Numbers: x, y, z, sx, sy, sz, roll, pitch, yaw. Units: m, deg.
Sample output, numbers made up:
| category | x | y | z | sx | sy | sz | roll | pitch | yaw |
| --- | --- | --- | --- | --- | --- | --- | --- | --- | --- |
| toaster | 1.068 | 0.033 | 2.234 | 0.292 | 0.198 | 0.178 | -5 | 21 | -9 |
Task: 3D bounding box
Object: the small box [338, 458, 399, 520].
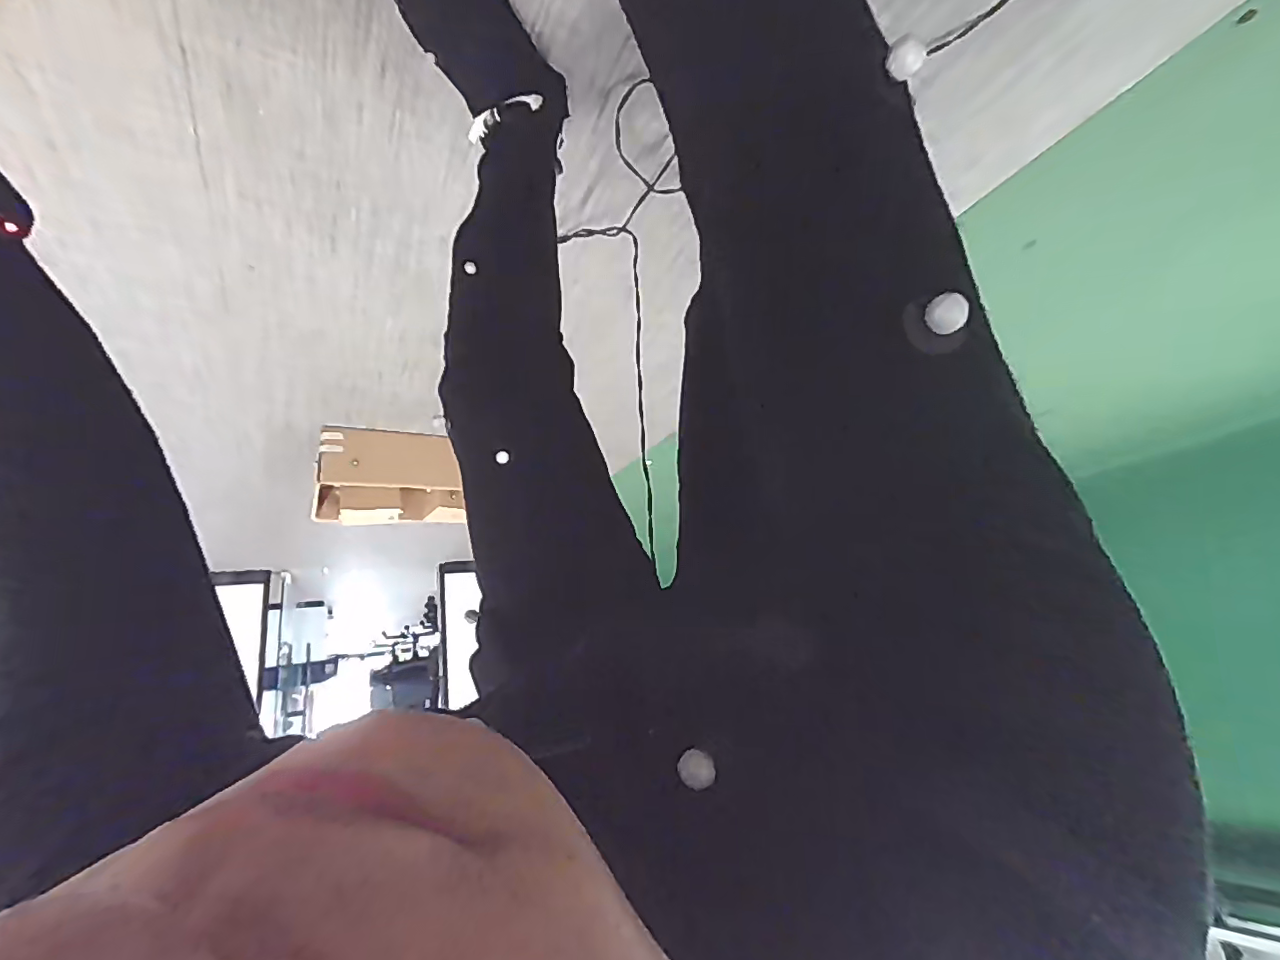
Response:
| category | x | y | z | sx | sy | sz | roll | pitch | yaw |
| --- | --- | --- | --- | --- | --- | --- | --- | --- | --- |
| small box | -0.915 | 0.031 | 1.823 | 0.179 | 0.176 | 0.168 | 0 | 159 | -28 |
